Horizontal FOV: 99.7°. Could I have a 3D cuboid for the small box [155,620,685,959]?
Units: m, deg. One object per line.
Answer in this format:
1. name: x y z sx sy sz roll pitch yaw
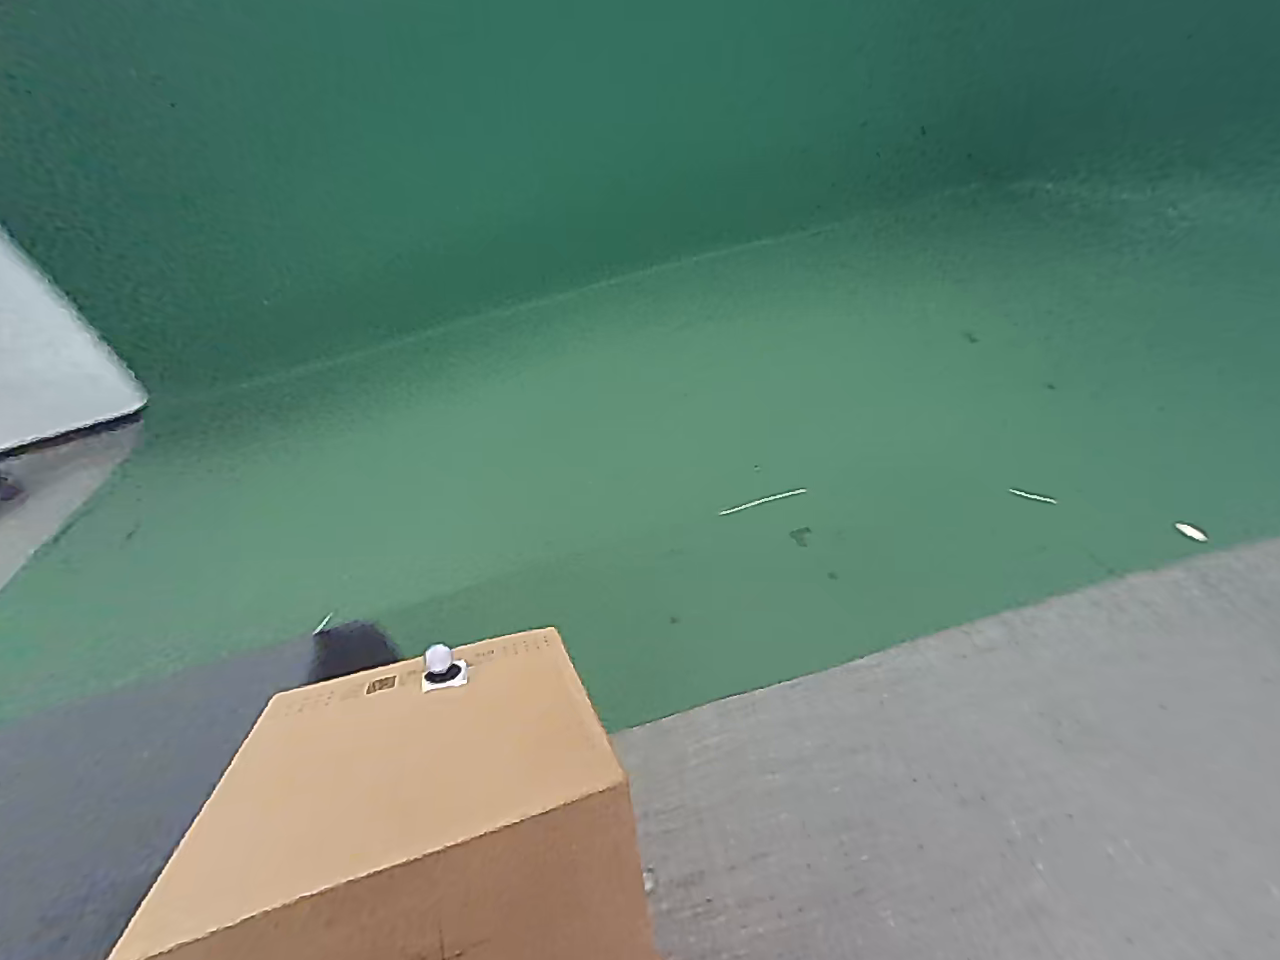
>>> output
1. small box: -0.084 0.196 0.274 0.168 0.179 0.176 -11 10 -18
